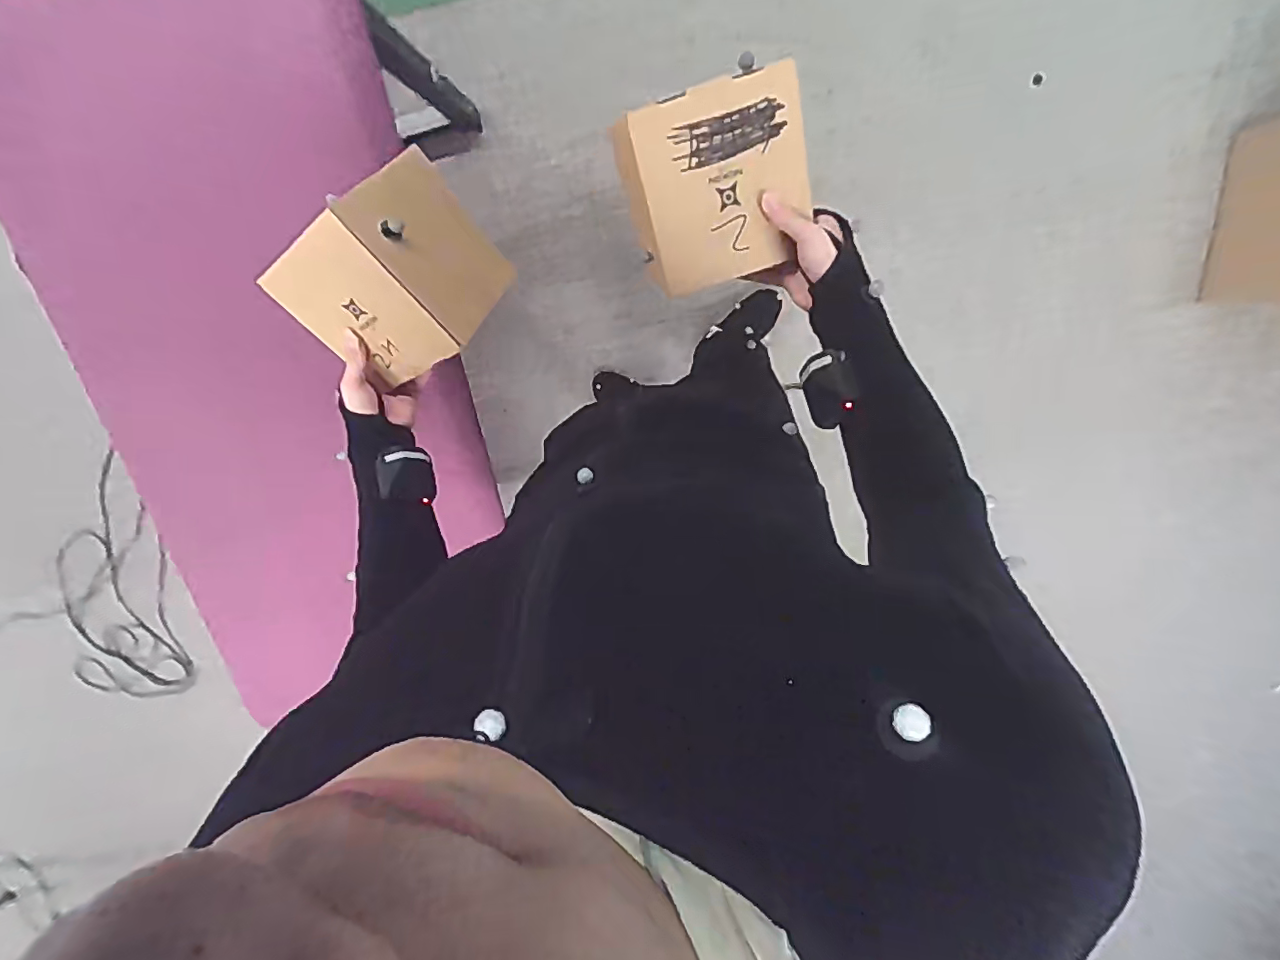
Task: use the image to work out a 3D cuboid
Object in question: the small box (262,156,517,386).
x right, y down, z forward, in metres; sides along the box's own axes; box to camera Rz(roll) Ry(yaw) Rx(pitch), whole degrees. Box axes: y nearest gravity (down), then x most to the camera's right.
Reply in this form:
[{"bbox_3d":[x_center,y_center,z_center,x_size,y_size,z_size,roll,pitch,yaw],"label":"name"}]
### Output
[{"bbox_3d":[-0.281,-0.247,0.638,0.168,0.176,0.179,-14,132,34],"label":"small box"}]
